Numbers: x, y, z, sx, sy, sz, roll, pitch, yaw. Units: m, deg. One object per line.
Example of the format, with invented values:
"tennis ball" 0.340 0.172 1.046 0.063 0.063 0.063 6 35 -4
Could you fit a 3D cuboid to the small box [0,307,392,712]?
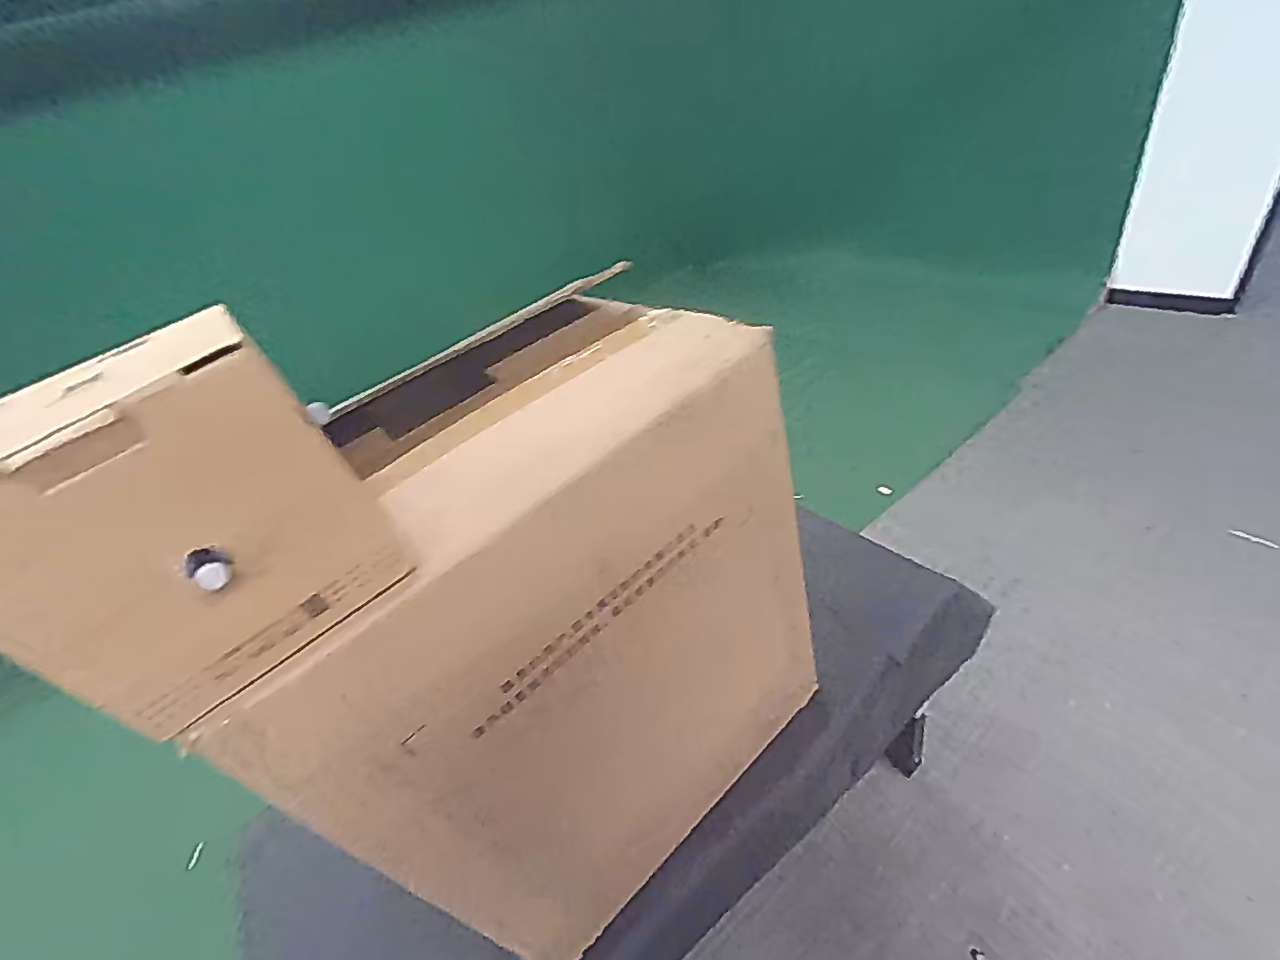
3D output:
"small box" -0.291 0.016 0.345 0.168 0.176 0.179 -37 41 -21
